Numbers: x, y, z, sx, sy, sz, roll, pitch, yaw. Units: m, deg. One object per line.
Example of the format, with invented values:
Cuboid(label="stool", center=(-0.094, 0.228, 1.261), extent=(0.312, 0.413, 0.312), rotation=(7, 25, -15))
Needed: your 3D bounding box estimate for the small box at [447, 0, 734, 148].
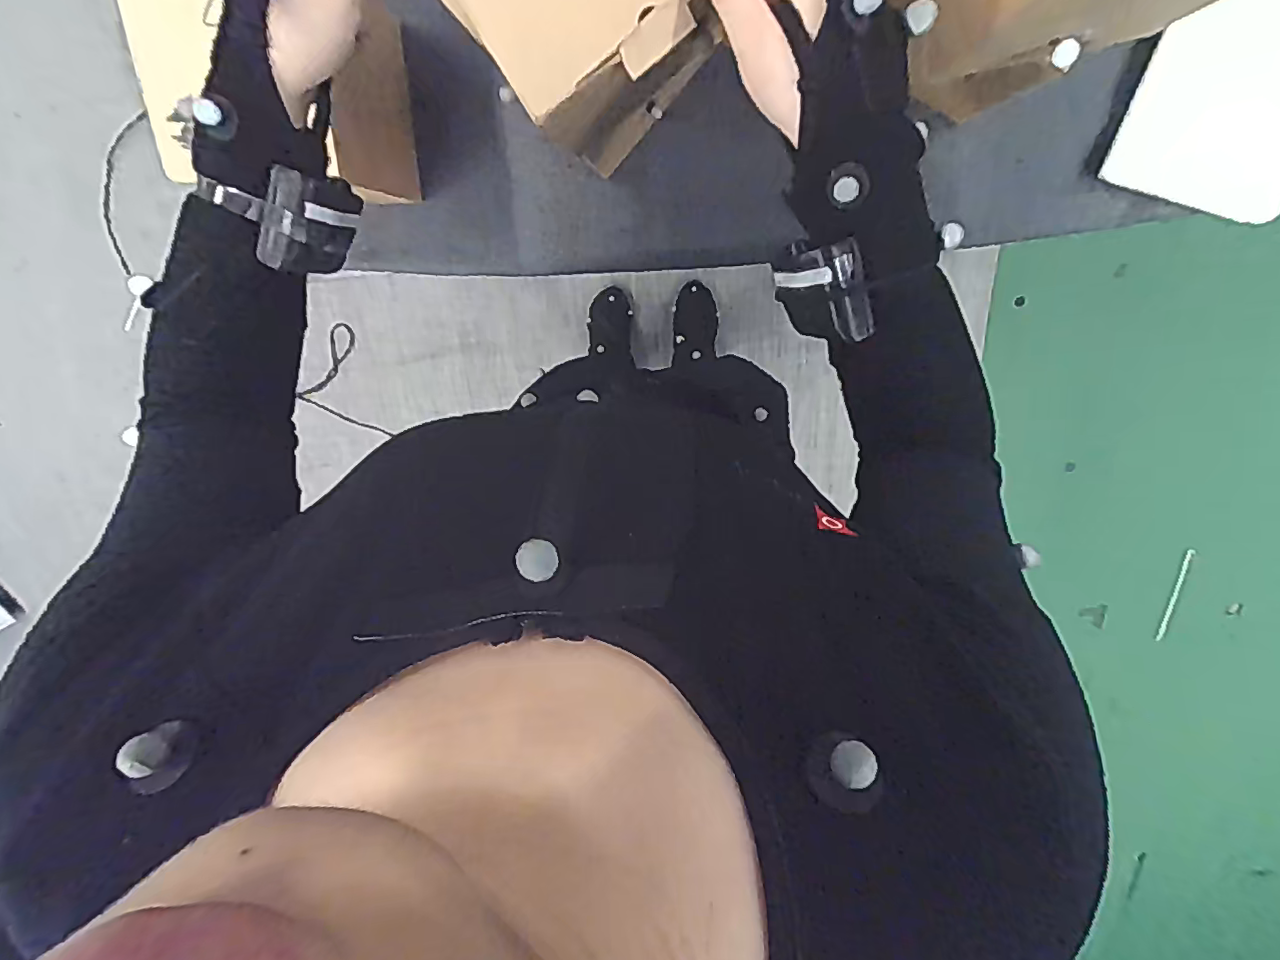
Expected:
Cuboid(label="small box", center=(-0.043, -0.347, 0.348), extent=(0.168, 0.176, 0.179), rotation=(-33, 108, 14))

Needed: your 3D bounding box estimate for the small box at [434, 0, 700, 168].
Cuboid(label="small box", center=(-0.051, -0.419, 0.496), extent=(0.179, 0.176, 0.168), rotation=(43, 109, -13))

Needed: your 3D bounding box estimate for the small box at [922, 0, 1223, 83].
Cuboid(label="small box", center=(0.283, -0.374, 0.316), extent=(0.168, 0.176, 0.179), rotation=(-7, 111, 8))

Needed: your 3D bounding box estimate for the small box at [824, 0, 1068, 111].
Cuboid(label="small box", center=(0.290, -0.450, 0.462), extent=(0.179, 0.176, 0.168), rotation=(24, 112, -5))
